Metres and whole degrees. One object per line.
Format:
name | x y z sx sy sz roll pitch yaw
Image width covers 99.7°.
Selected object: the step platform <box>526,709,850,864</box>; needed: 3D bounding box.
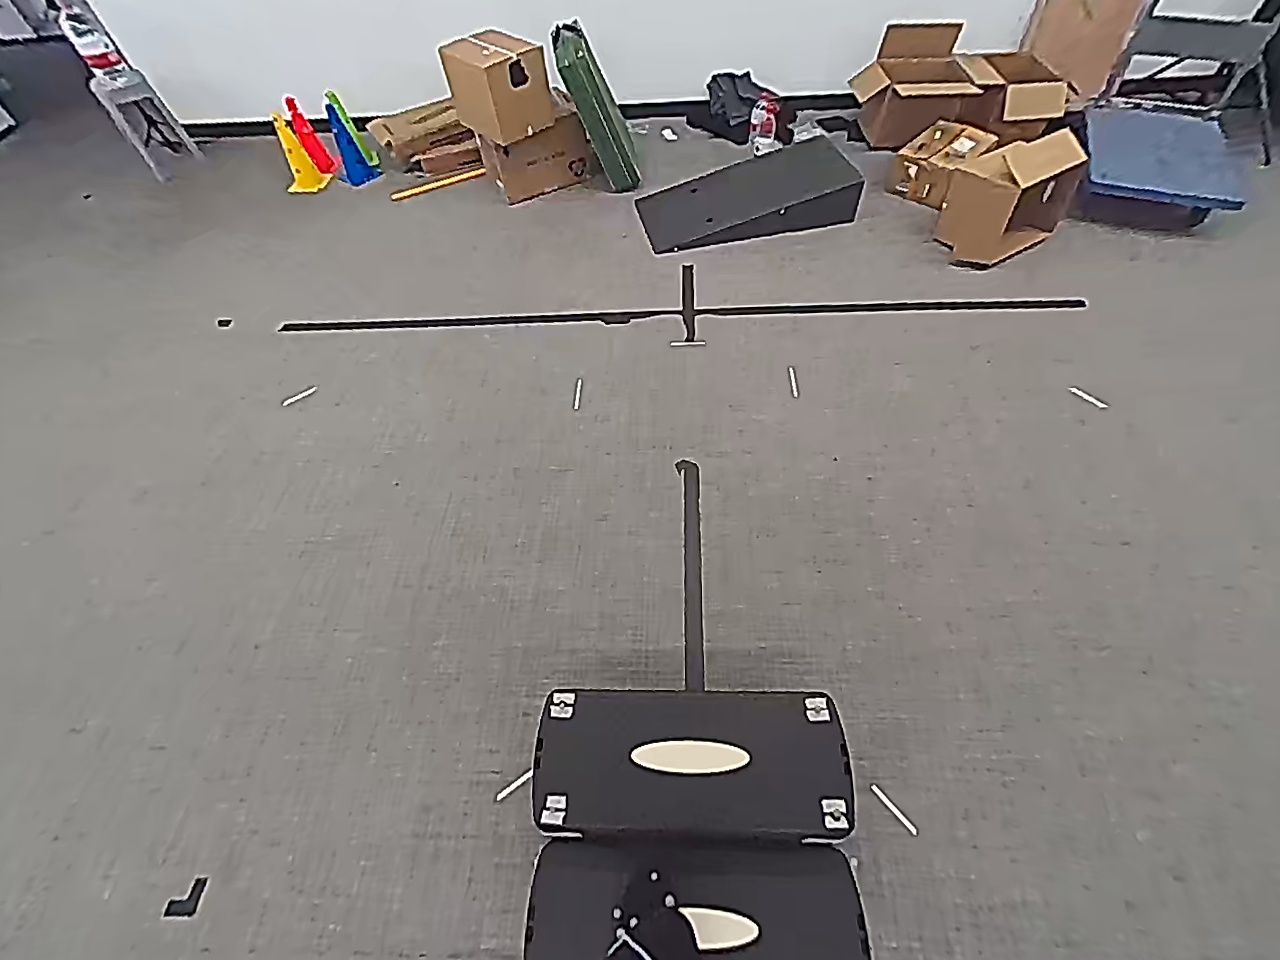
step platform | 0.096 0.673 1.199 0.684 0.204 0.286 -1 55 2
